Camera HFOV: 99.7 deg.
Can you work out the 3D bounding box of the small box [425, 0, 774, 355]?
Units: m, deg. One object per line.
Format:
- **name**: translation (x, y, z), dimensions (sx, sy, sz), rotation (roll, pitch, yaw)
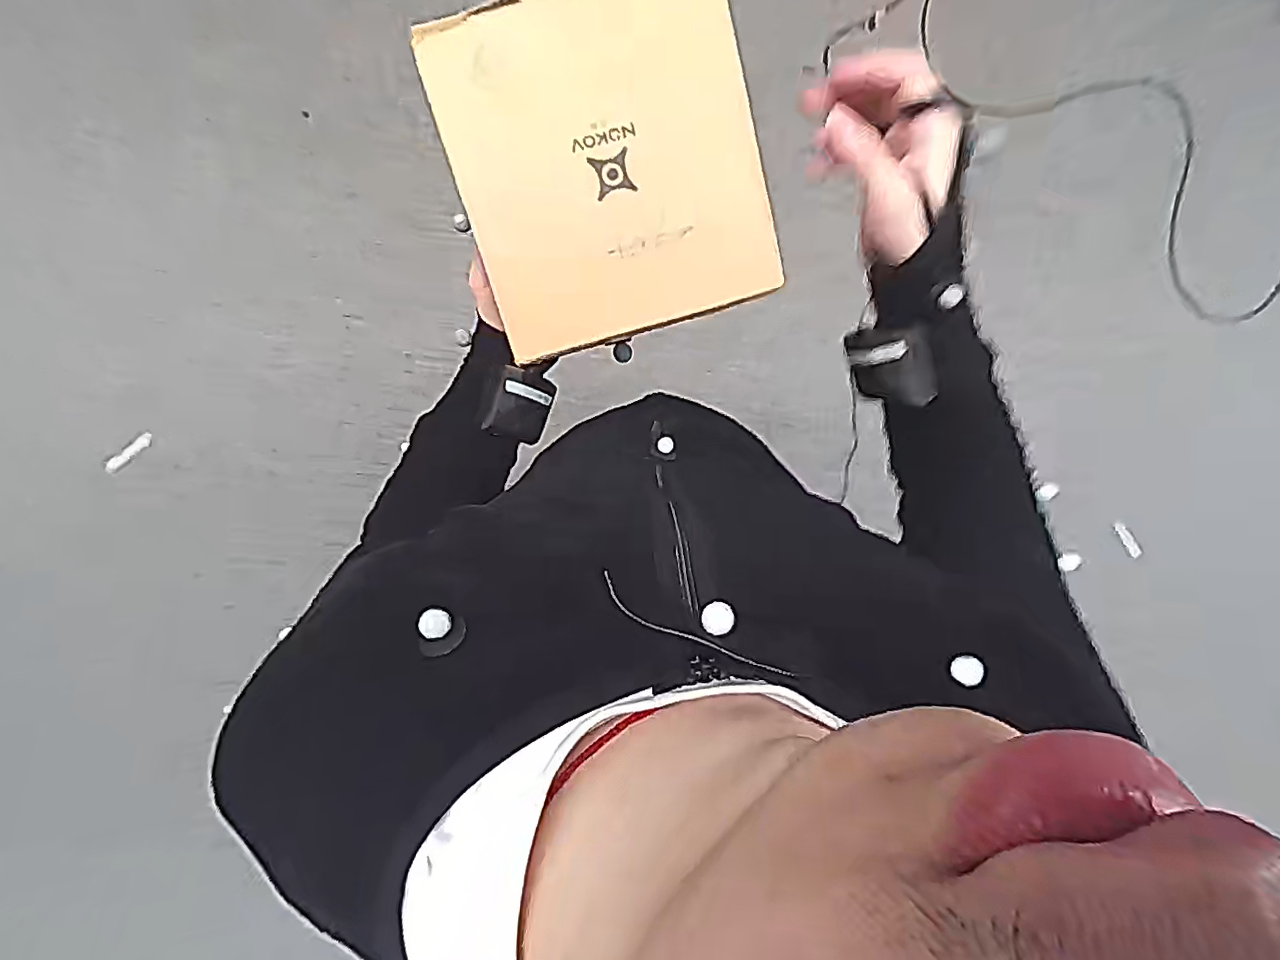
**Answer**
- **small box**: translation (-0.025, -0.194, 0.384), dimensions (0.168, 0.176, 0.179), rotation (-16, 104, -2)
